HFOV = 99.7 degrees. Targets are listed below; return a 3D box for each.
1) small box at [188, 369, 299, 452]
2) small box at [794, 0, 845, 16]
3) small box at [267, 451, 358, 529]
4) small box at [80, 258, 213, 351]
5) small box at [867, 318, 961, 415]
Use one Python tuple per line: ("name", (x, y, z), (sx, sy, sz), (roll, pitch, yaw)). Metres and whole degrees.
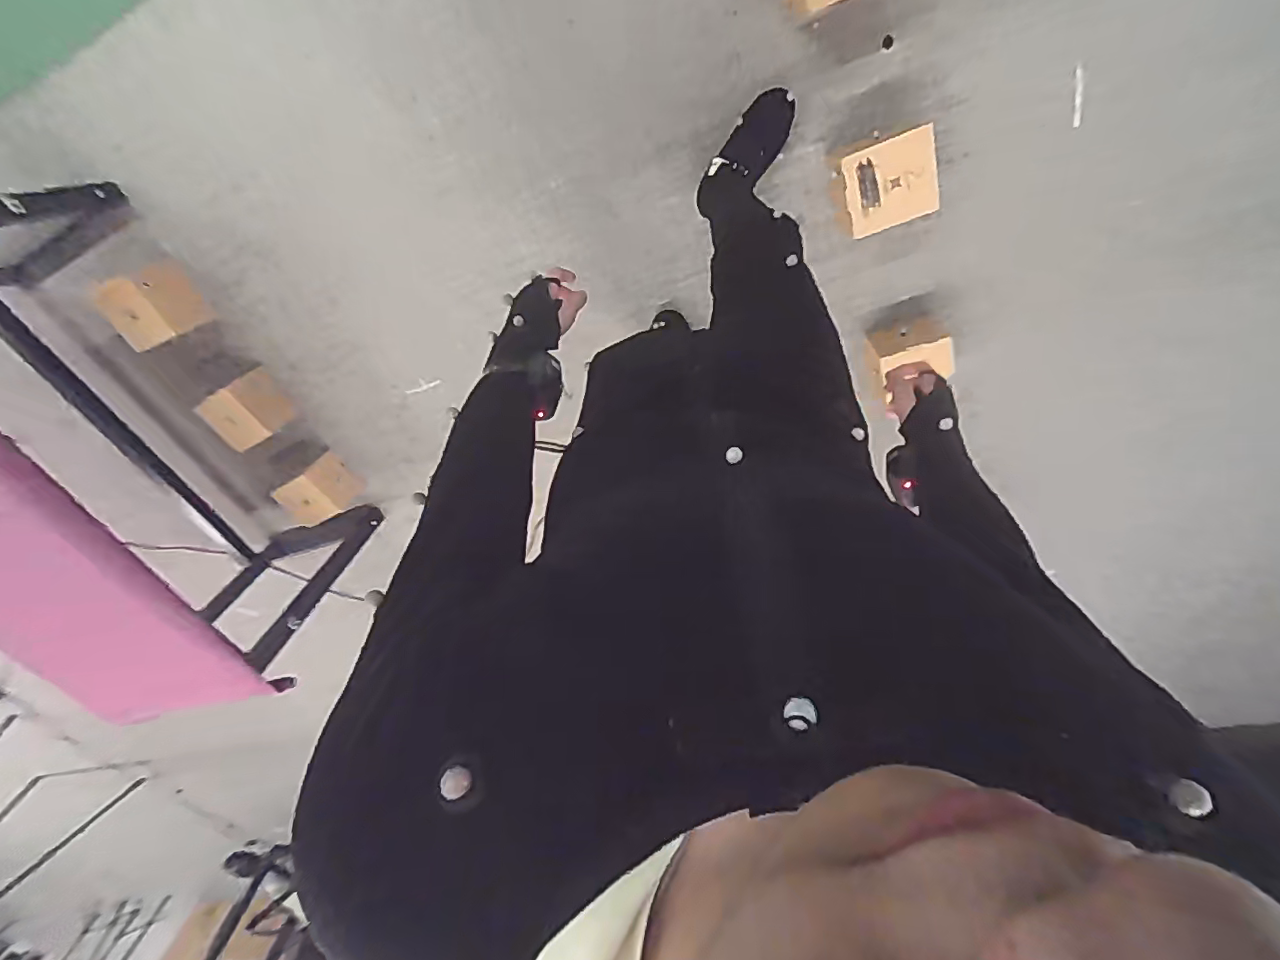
("small box", (-1.208, -0.221, 1.660), (0.168, 0.176, 0.179), (-21, 120, 21))
("small box", (0.357, -0.967, 0.961), (0.168, 0.176, 0.179), (-15, 120, 15))
("small box", (-1.084, 0.028, 1.813), (0.179, 0.176, 0.168), (-23, 119, 21))
("small box", (-1.351, -0.488, 1.495), (0.168, 0.176, 0.179), (-15, 121, 16))
("small box", (0.693, -0.296, 1.378), (0.168, 0.176, 0.179), (-15, 121, 16))
